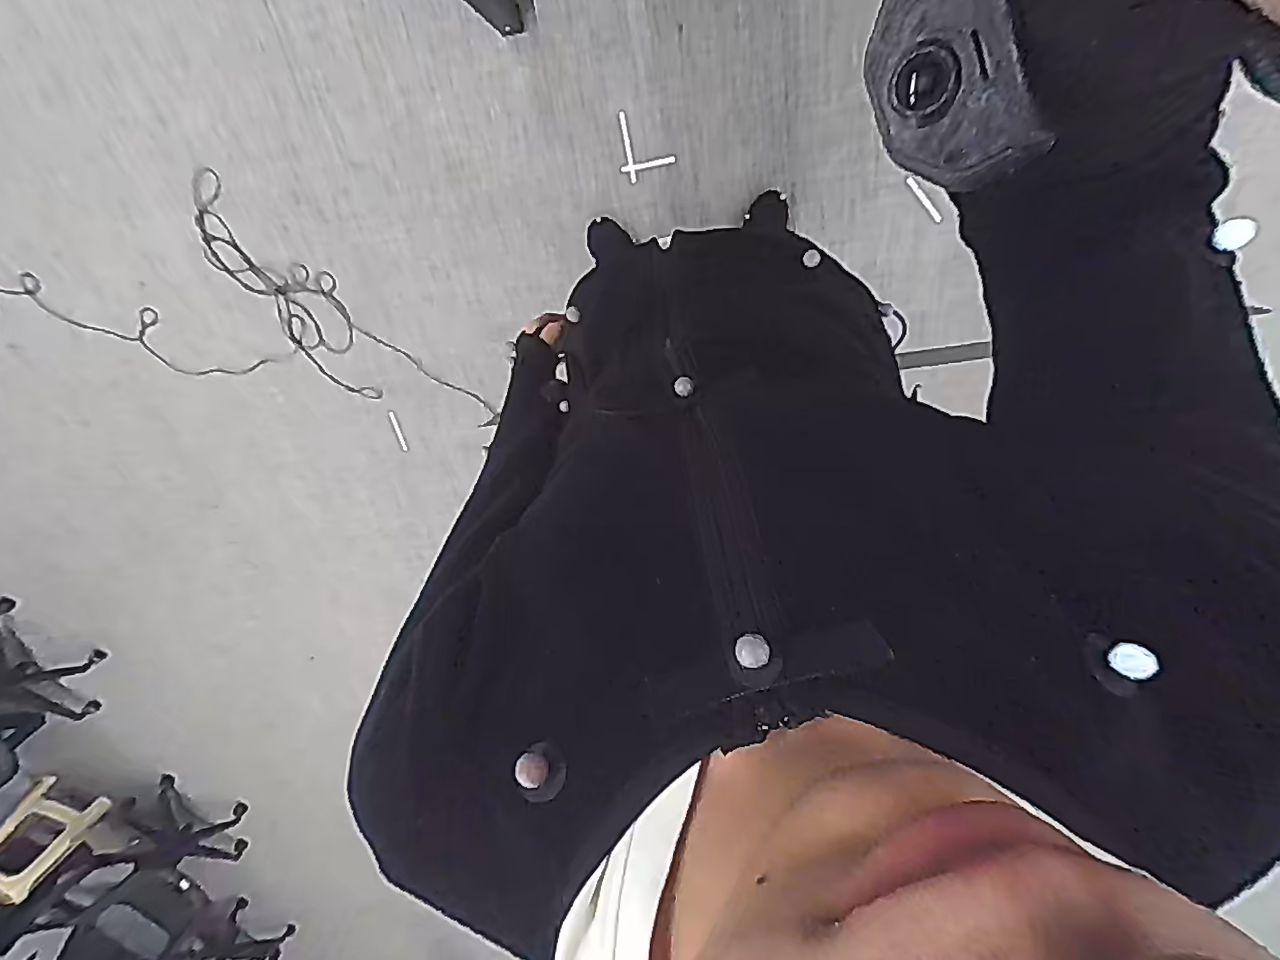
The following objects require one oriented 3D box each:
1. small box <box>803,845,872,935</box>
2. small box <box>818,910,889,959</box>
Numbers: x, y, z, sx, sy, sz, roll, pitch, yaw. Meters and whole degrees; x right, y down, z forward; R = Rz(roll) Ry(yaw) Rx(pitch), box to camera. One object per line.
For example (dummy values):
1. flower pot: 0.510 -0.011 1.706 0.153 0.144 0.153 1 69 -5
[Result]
1. small box: 0.616 1.280 1.690 0.168 0.176 0.179 -10 117 8
2. small box: 0.620 1.368 1.551 0.168 0.176 0.179 -13 118 9
